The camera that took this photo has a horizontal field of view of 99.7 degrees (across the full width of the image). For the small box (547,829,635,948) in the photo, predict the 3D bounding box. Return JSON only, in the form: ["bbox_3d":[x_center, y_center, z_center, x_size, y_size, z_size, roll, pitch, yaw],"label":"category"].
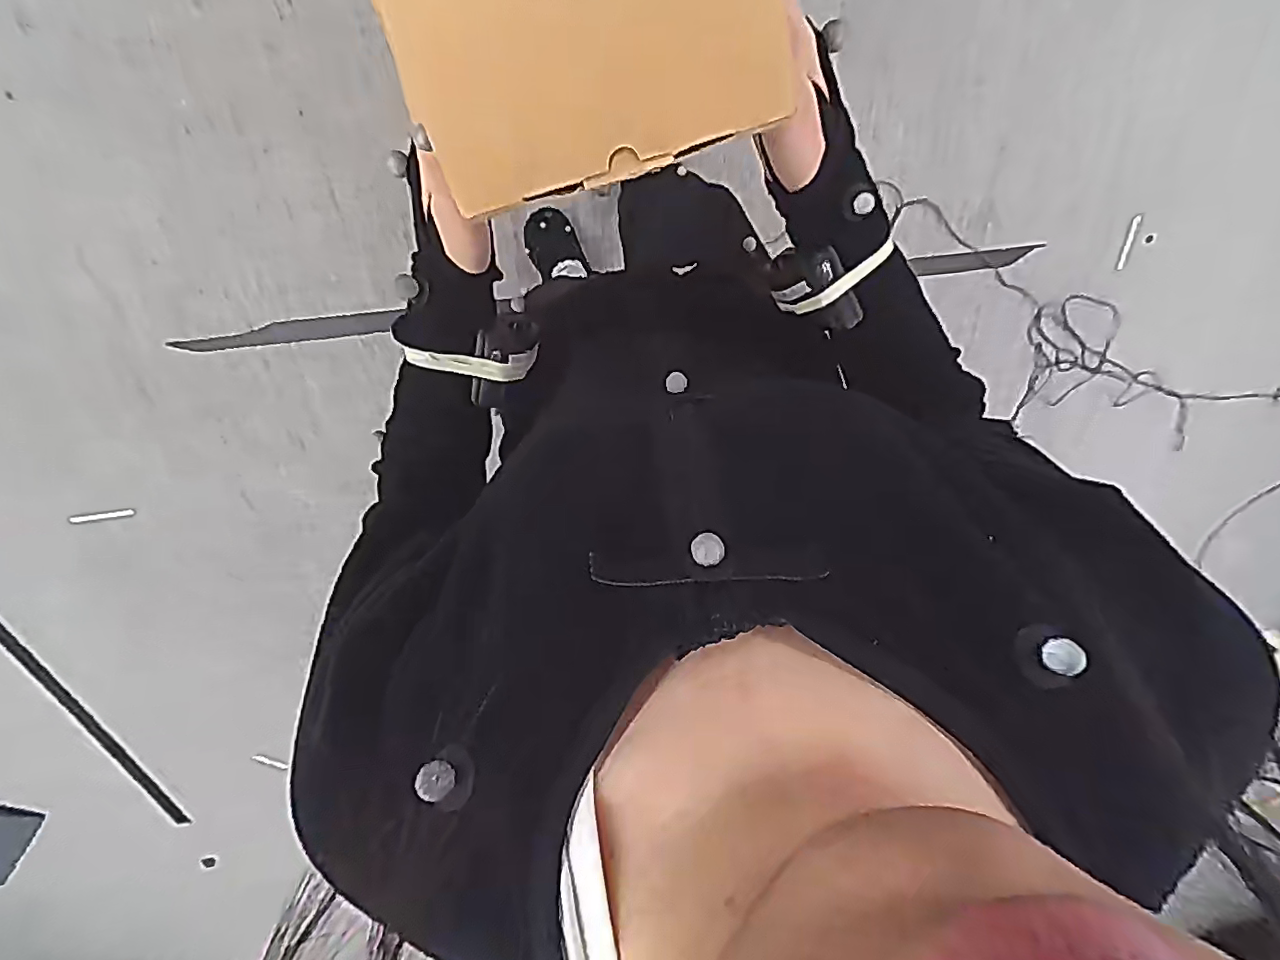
[{"bbox_3d":[-0.109,0.903,1.177,0.168,0.176,0.179,-9,120,-7],"label":"small box"}]

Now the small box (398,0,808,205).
[{"bbox_3d":[-0.029,-0.262,0.277,0.168,0.176,0.179,-15,122,4],"label":"small box"}]

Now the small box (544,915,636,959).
[{"bbox_3d":[-0.086,0.986,1.040,0.168,0.176,0.179,-11,119,-6],"label":"small box"}]
